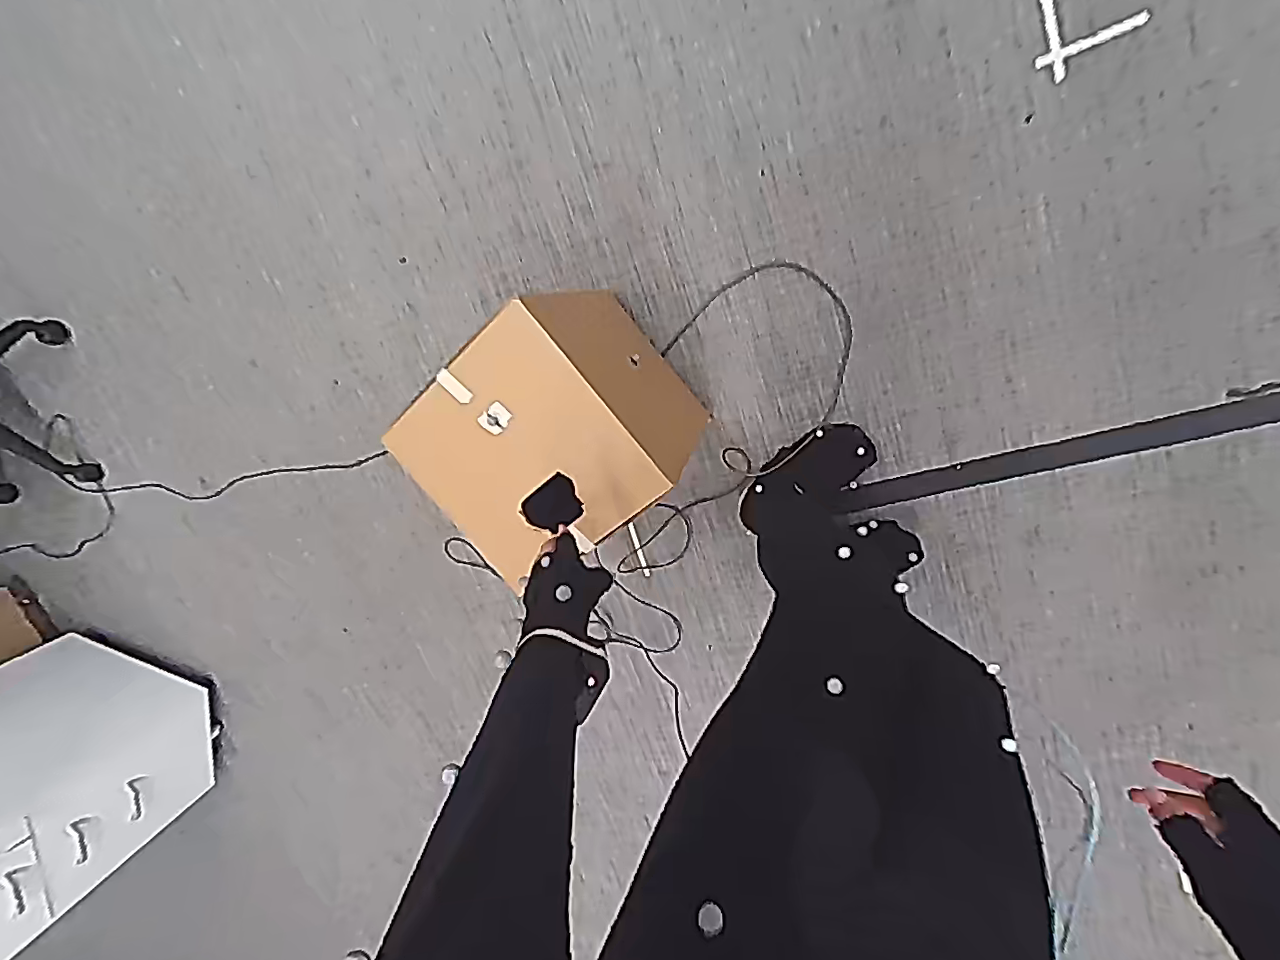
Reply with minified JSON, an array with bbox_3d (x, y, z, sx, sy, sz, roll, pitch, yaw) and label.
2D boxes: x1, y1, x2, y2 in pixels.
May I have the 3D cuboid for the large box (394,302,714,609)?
[{"bbox_3d":[-0.111,-0.068,0.911,0.320,0.408,0.320,-36,98,24],"label":"large box"}]
